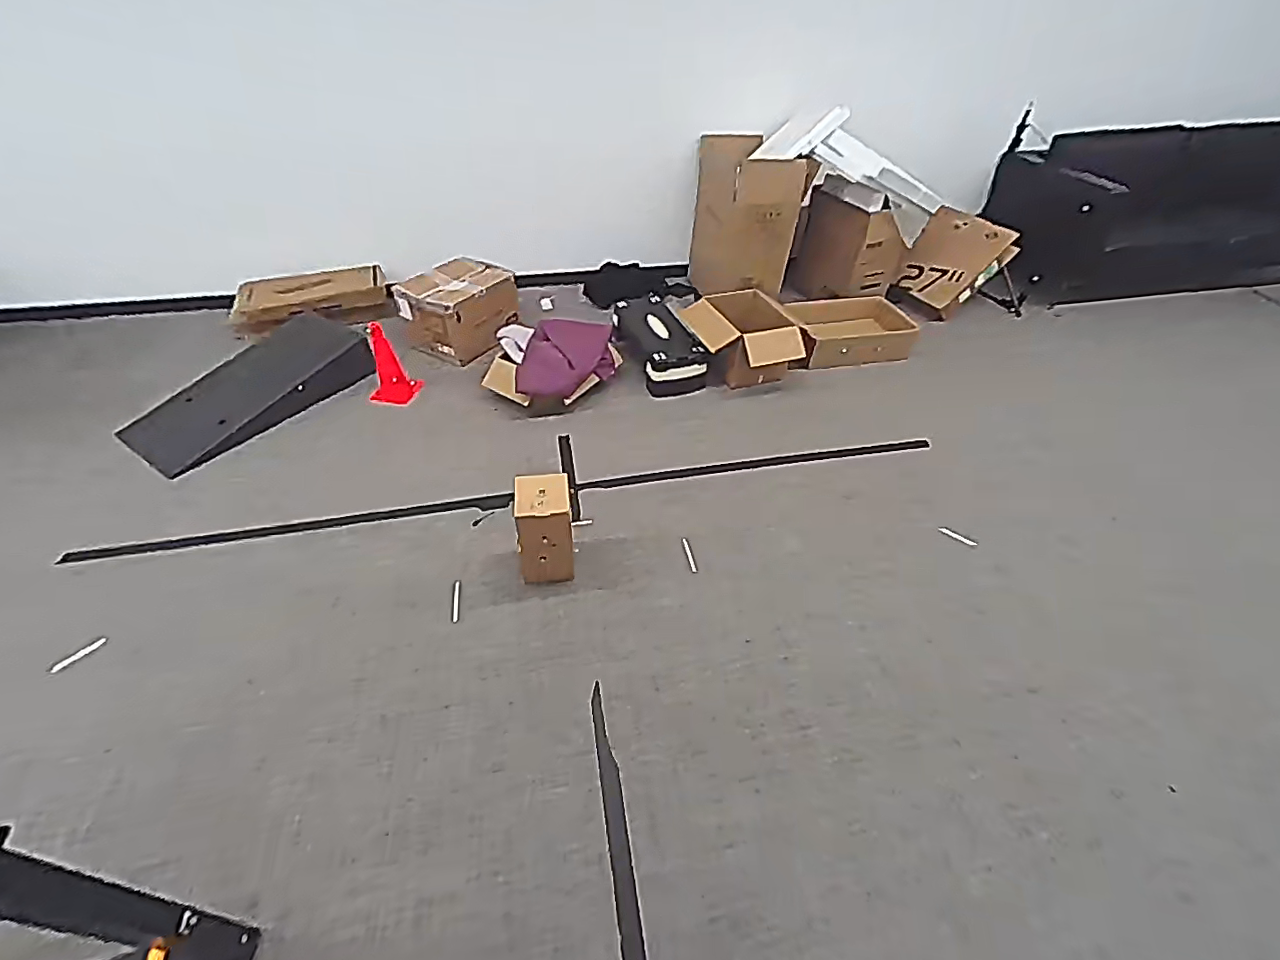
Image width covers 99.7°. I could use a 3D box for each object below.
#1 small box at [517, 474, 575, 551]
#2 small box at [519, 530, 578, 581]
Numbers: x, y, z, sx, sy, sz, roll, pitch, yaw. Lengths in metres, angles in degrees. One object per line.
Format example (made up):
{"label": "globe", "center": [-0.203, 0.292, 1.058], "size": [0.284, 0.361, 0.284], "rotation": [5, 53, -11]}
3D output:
{"label": "small box", "center": [-0.297, 0.104, 1.719], "size": [0.168, 0.176, 0.179], "rotation": [-5, 44, -7]}
{"label": "small box", "center": [-0.307, 0.227, 1.828], "size": [0.179, 0.176, 0.168], "rotation": [-4, 44, -7]}
